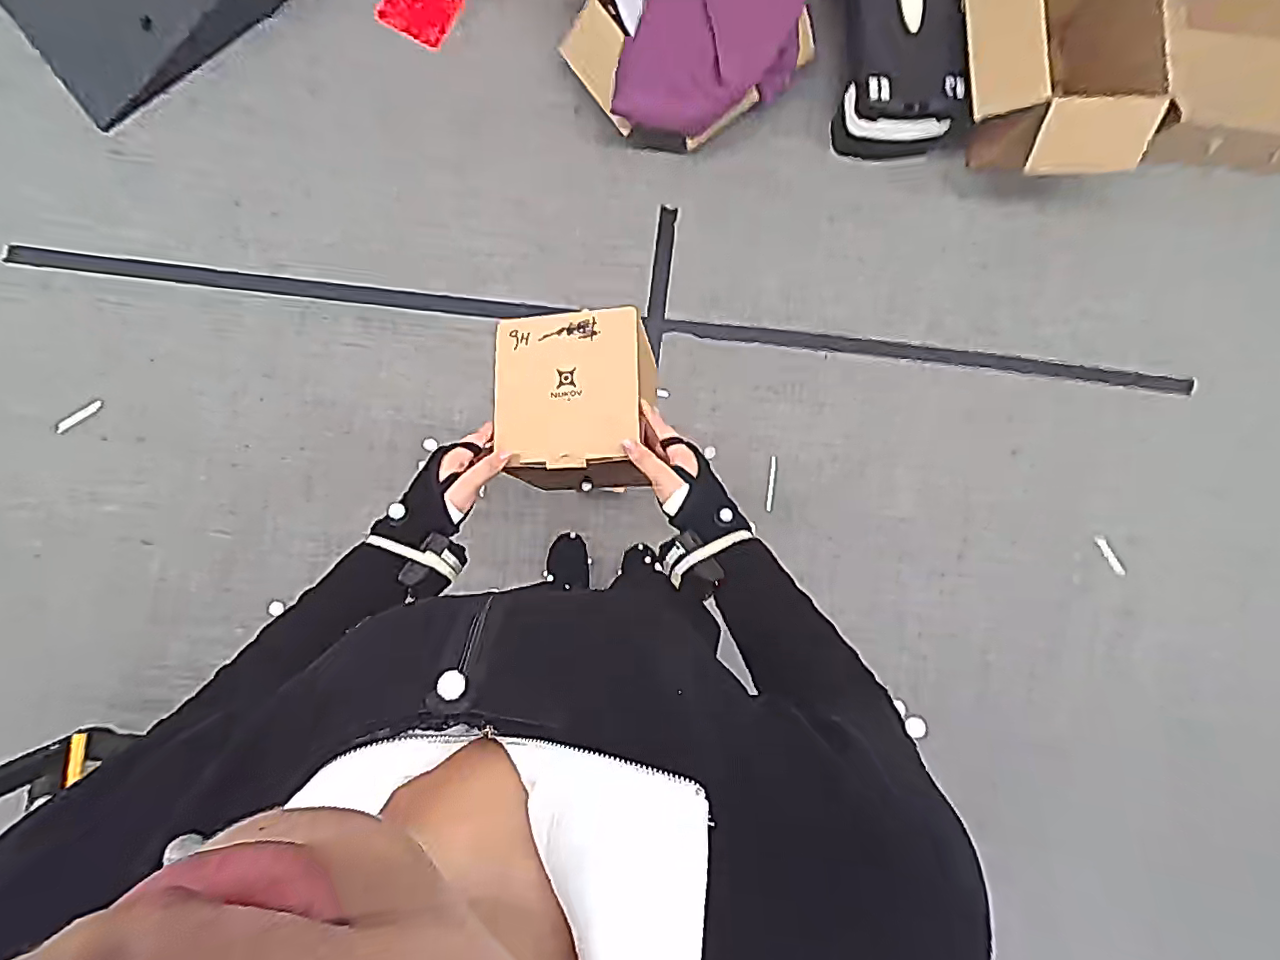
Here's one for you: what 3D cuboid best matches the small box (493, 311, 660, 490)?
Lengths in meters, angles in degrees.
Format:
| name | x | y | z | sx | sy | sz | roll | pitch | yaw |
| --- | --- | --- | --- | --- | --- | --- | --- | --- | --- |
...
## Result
| name | x | y | z | sx | sy | sz | roll | pitch | yaw |
| --- | --- | --- | --- | --- | --- | --- | --- | --- | --- |
| small box | -0.067 | -0.082 | 0.661 | 0.168 | 0.176 | 0.179 | -3 | 81 | 8 |
